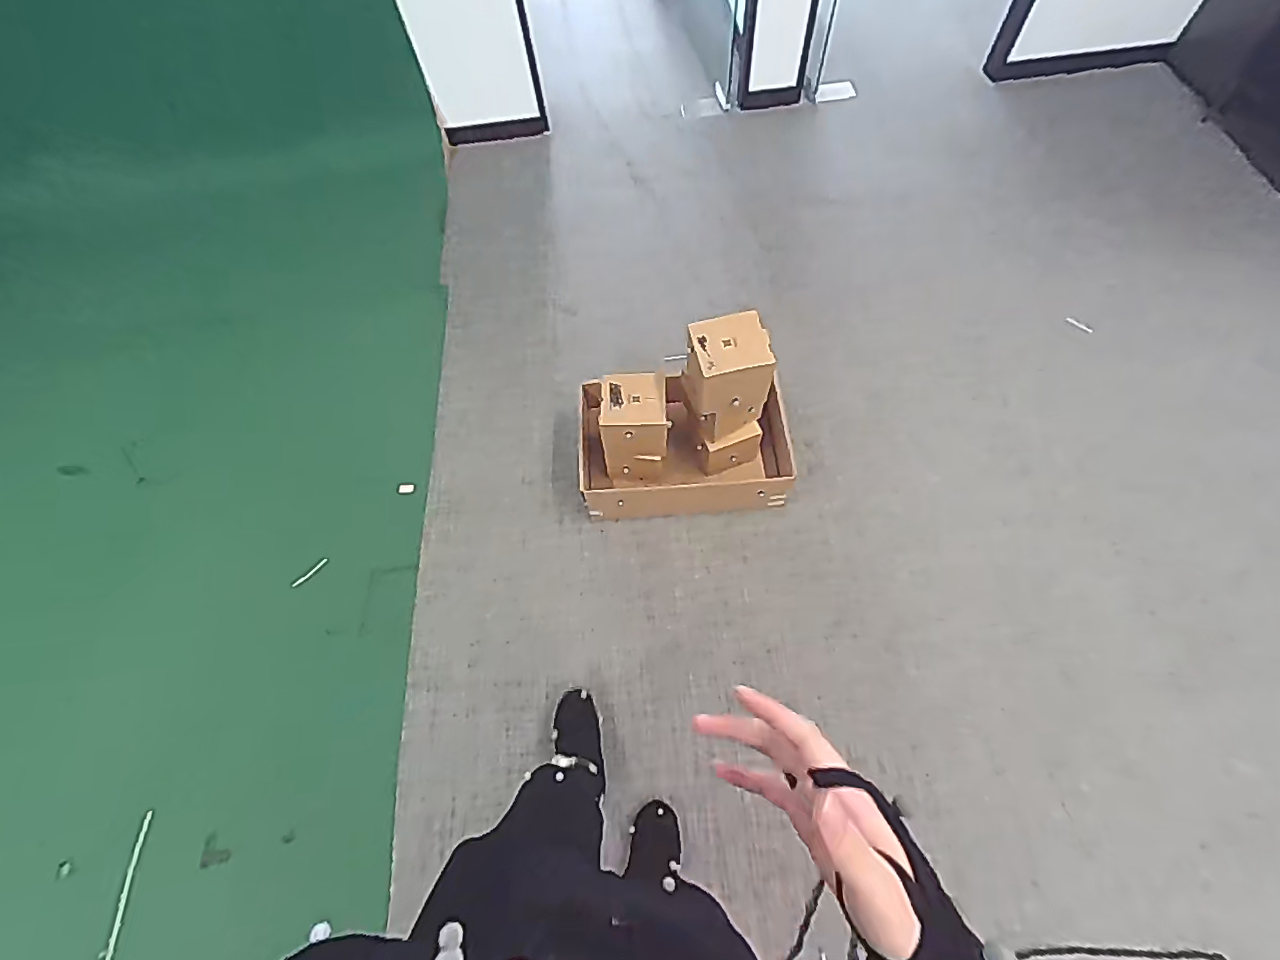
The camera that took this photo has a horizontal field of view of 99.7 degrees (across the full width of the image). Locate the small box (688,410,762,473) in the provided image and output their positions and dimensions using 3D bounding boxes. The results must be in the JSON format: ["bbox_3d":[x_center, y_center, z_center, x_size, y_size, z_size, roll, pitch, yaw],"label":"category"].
[{"bbox_3d":[0.254,-0.139,1.640,0.168,0.176,0.179,-19,64,-5],"label":"small box"}]

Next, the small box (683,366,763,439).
[{"bbox_3d":[0.233,-0.238,1.508,0.168,0.176,0.179,-29,65,-10],"label":"small box"}]

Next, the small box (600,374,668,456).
[{"bbox_3d":[-0.011,-0.174,1.492,0.179,0.176,0.168,0,63,2],"label":"small box"}]

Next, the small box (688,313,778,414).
[{"bbox_3d":[0.223,-0.286,1.350,0.179,0.176,0.168,-11,64,-2],"label":"small box"}]
